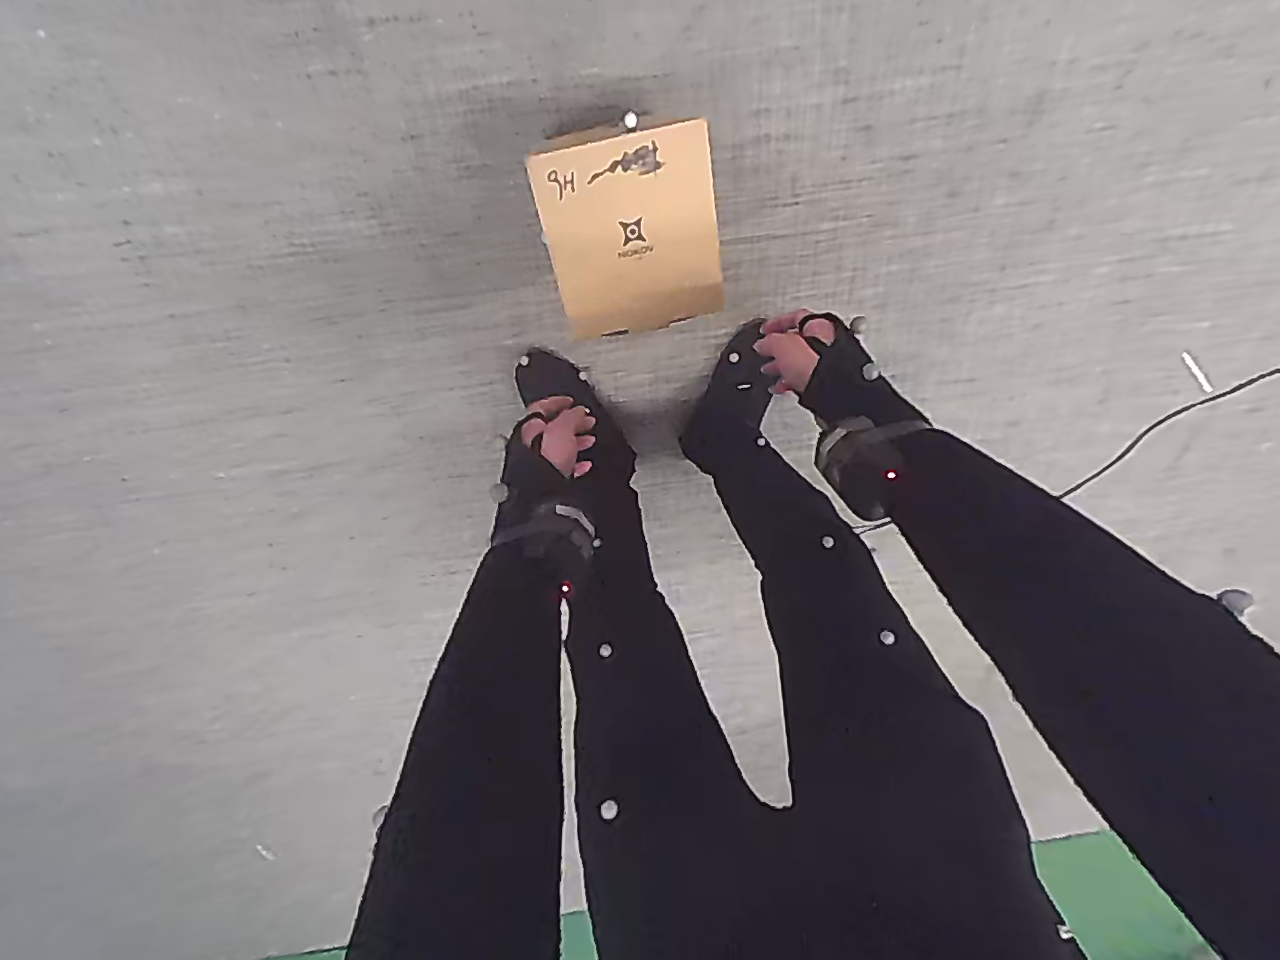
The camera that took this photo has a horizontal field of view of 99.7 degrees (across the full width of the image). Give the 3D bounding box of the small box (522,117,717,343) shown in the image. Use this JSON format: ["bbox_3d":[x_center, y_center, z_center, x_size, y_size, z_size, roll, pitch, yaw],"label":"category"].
[{"bbox_3d":[-0.016,-0.273,0.586,0.168,0.176,0.179,-11,125,2],"label":"small box"}]
